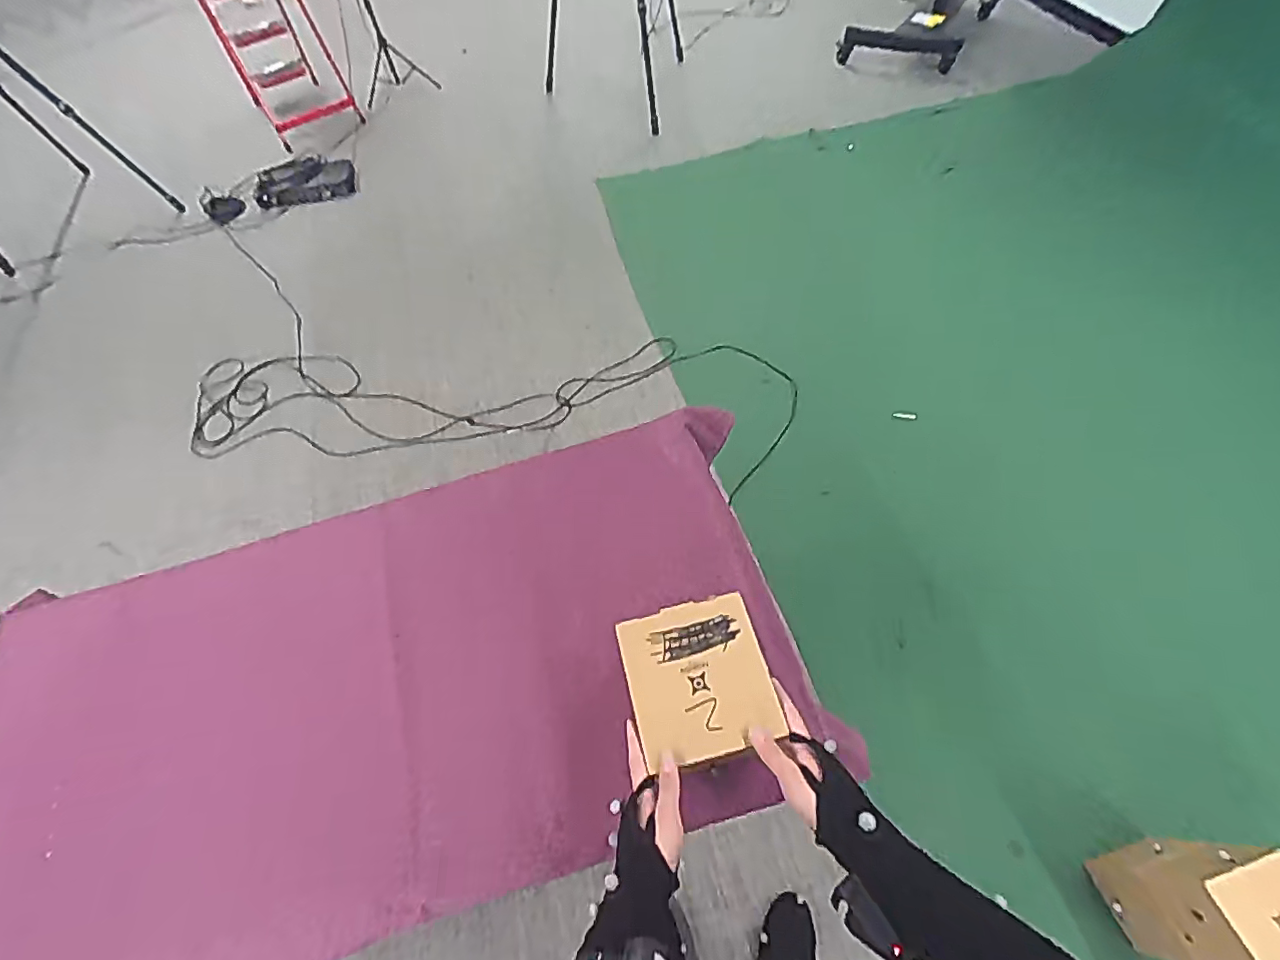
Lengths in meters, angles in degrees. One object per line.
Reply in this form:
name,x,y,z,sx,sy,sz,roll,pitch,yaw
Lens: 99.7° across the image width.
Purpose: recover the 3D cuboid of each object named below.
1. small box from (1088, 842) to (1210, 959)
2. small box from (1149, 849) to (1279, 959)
small box,1.105,0.875,1.123,0.179,0.176,0.168,-17,59,-4
small box,1.096,0.796,0.983,0.179,0.176,0.168,-16,59,-6
